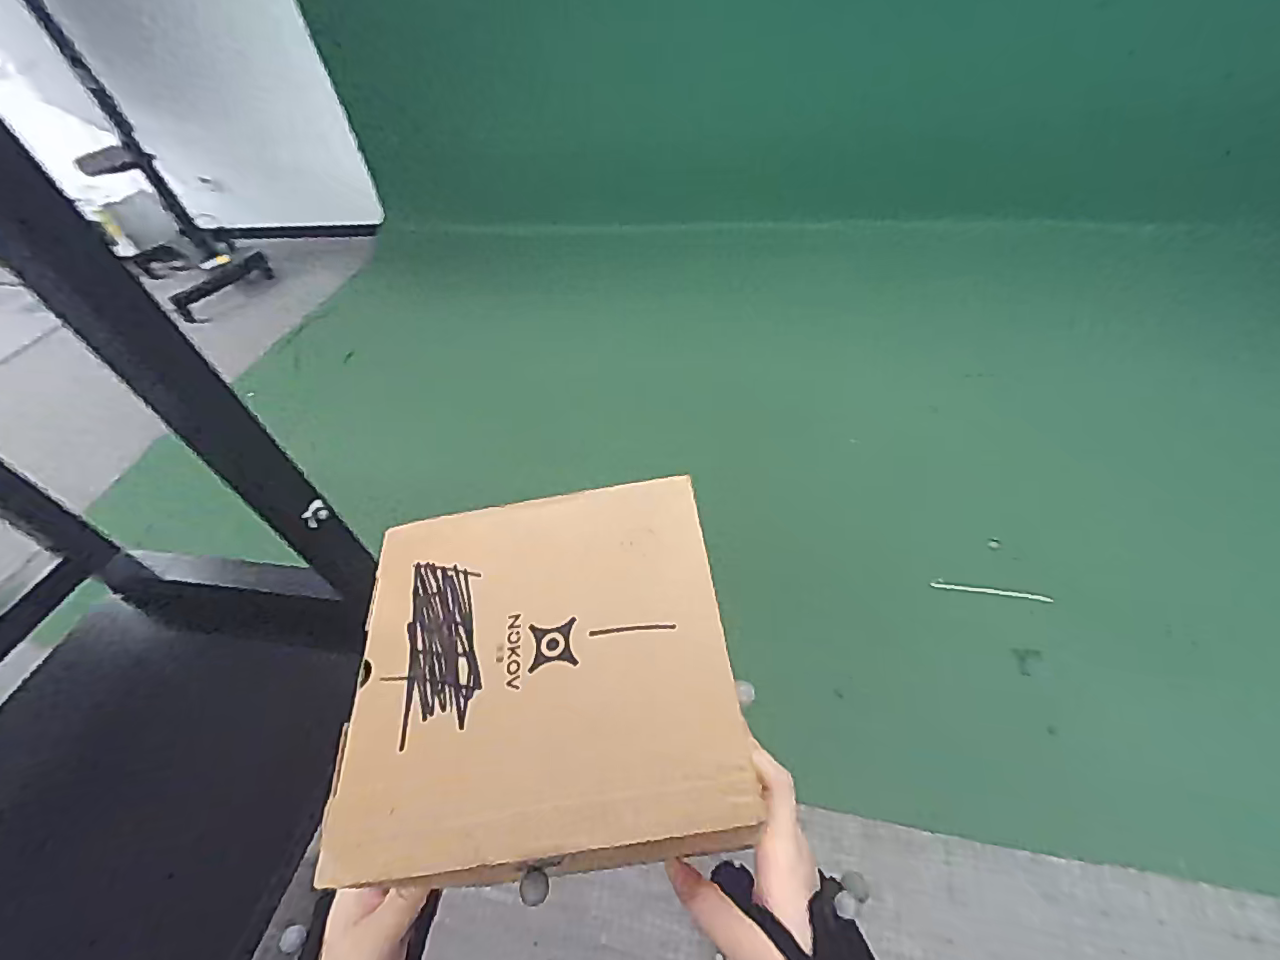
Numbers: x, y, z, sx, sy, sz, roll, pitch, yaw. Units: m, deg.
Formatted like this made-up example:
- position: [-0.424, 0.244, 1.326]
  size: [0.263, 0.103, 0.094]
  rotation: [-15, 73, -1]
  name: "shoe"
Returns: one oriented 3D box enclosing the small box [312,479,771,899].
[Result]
- position: [-0.033, 0.125, 0.306]
  size: [0.179, 0.176, 0.168]
  rotation: [-10, 52, 2]
  name: "small box"
